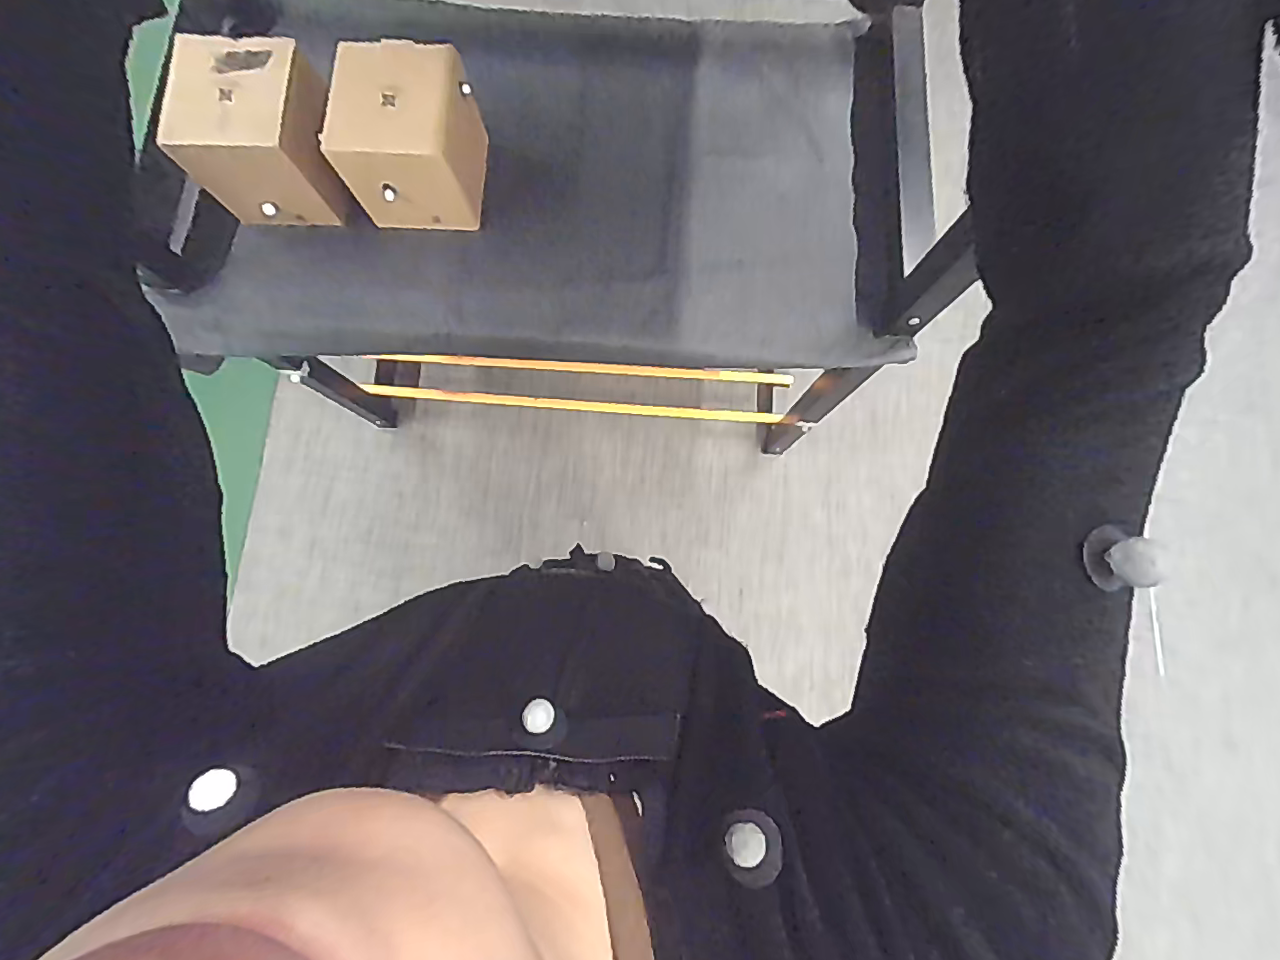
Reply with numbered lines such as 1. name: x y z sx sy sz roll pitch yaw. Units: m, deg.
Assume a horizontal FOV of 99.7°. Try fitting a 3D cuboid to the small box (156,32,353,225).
1. small box: -0.557 -0.515 0.808 0.168 0.176 0.179 1 80 0
